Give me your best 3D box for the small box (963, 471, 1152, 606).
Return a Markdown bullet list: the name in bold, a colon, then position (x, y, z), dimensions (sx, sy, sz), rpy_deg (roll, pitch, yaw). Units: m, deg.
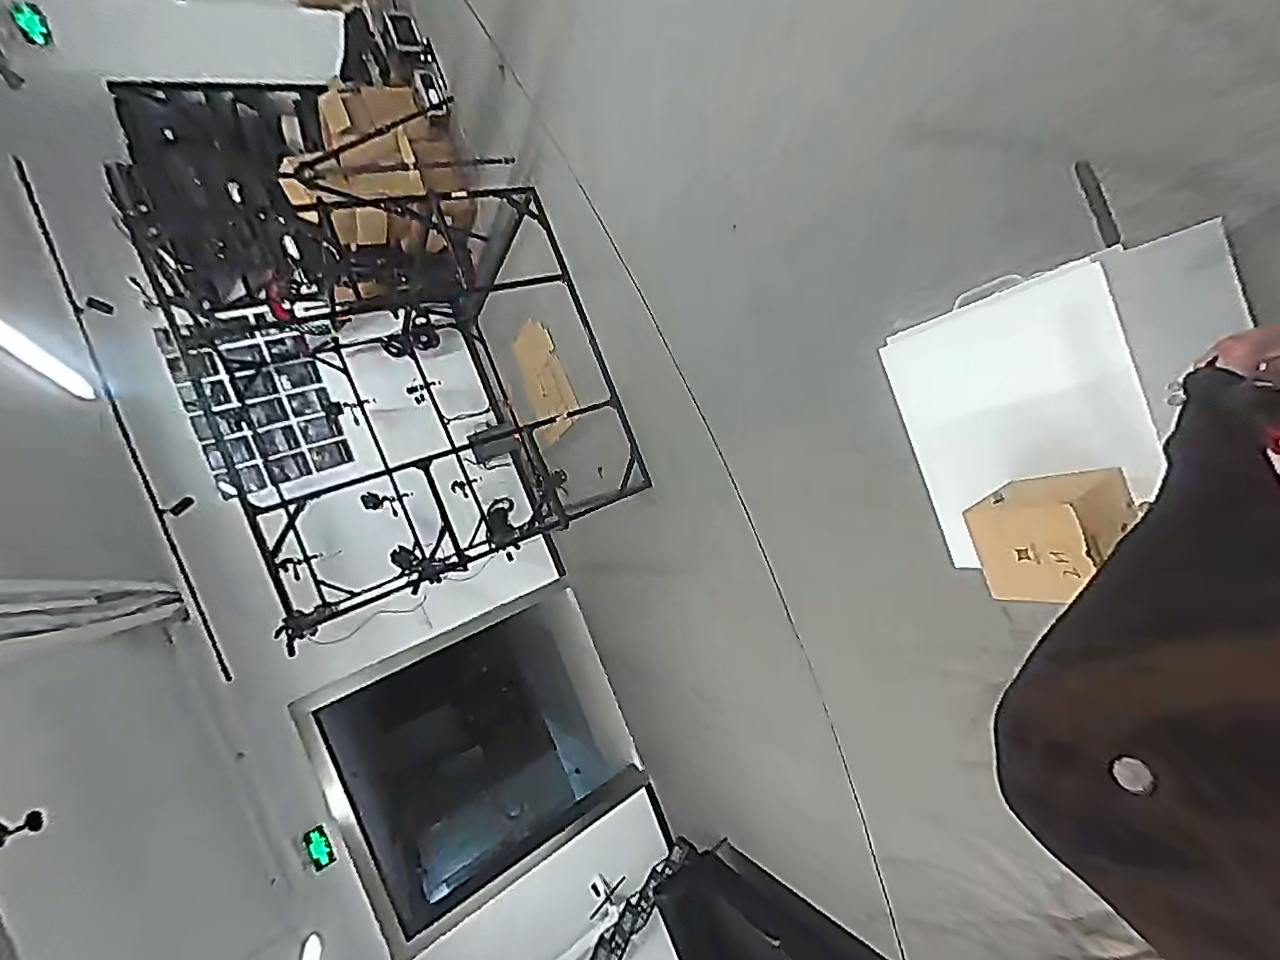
- **small box**: position (0.699, 0.095, 0.912), dimensions (0.179, 0.176, 0.168), rpy_deg (-17, 95, 64)
